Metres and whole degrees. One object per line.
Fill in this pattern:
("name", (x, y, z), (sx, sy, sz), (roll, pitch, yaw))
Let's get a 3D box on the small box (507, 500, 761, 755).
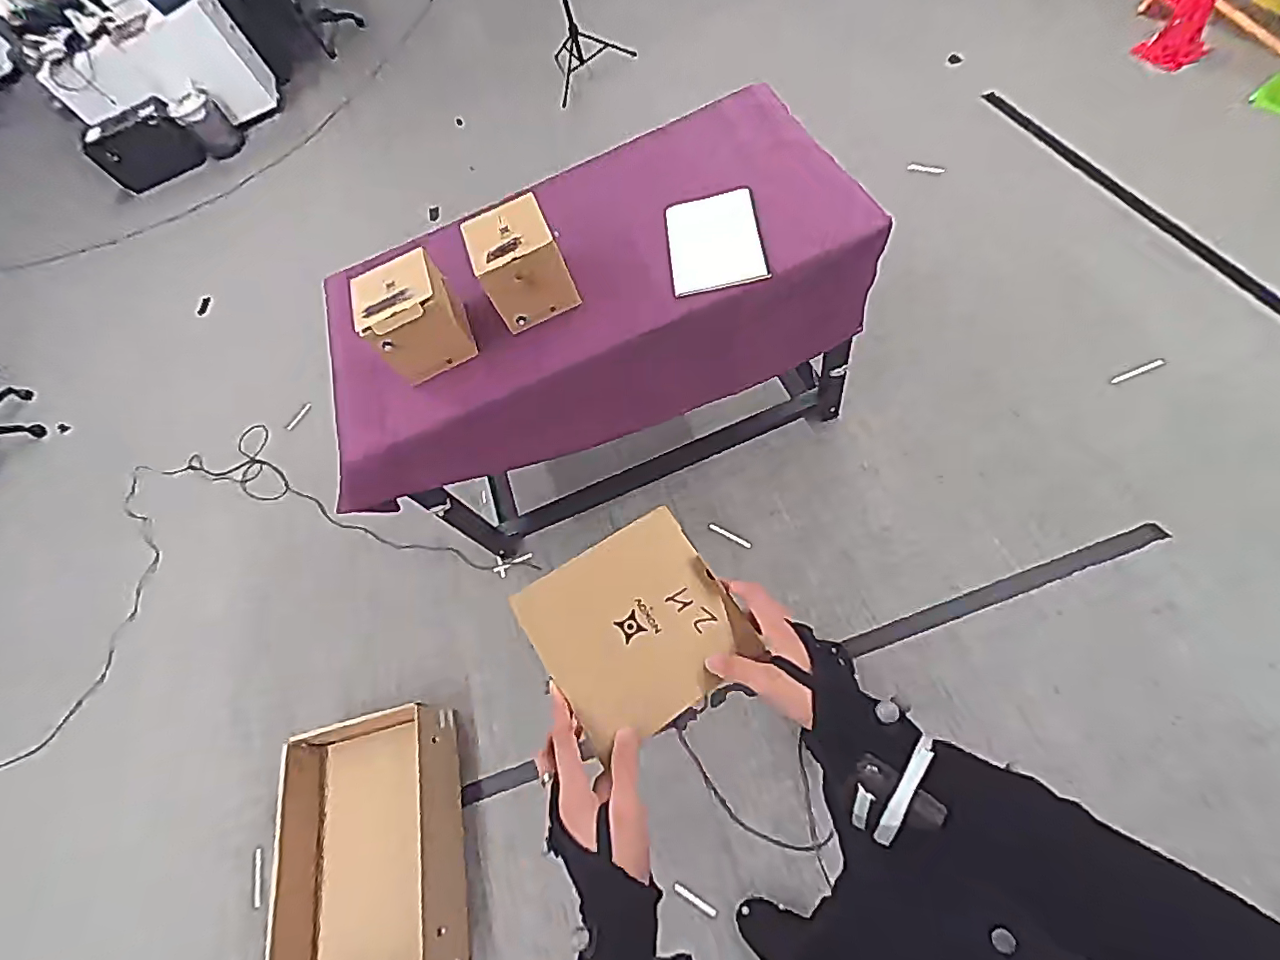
("small box", (-0.012, 0.154, 0.553), (0.179, 0.176, 0.168), (-29, 72, -19))
